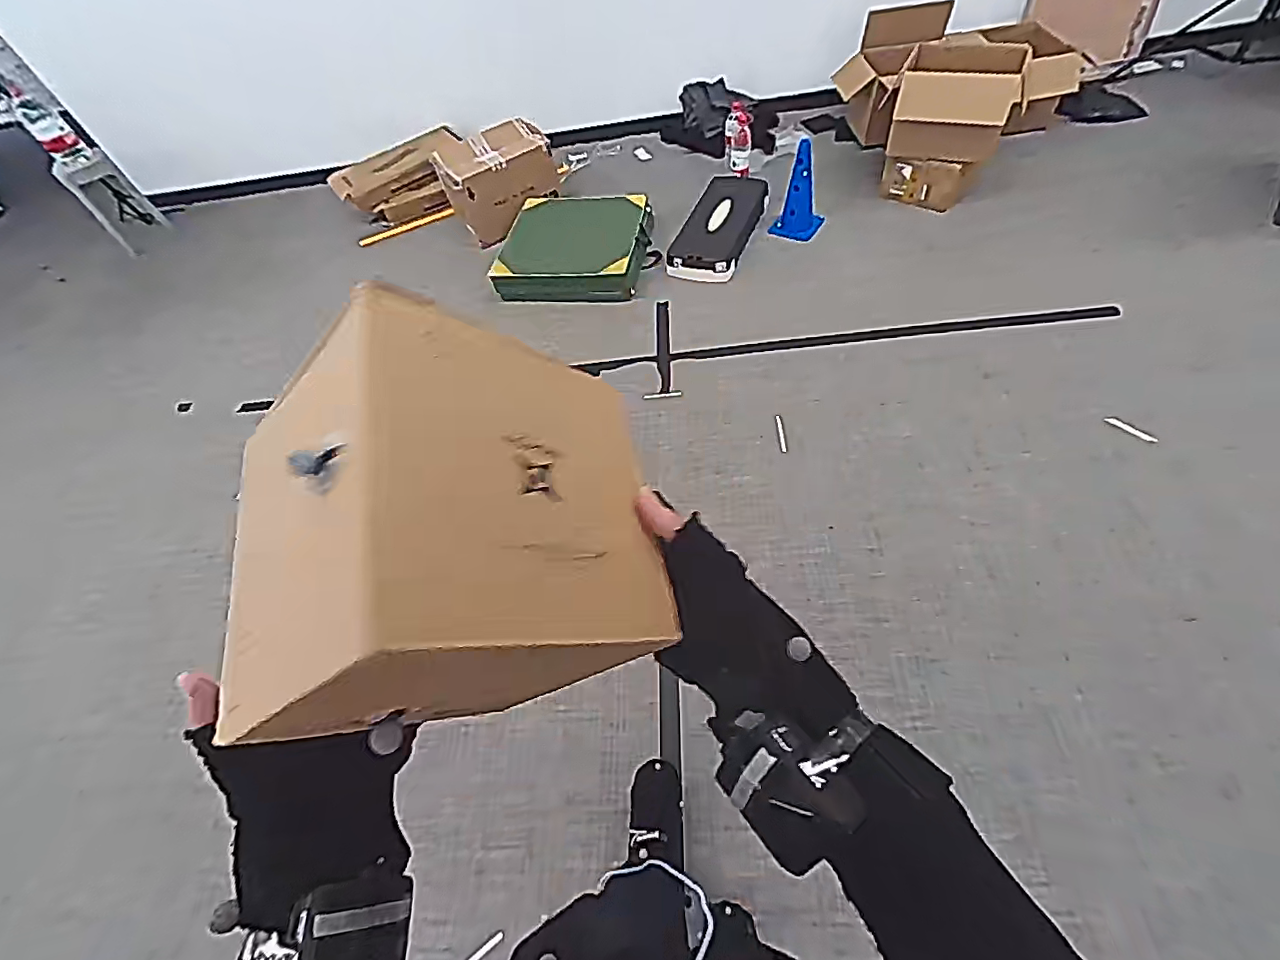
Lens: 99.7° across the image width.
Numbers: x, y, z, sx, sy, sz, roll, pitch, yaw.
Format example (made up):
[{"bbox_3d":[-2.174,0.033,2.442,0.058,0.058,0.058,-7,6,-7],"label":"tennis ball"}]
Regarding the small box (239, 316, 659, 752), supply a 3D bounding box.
[{"bbox_3d":[-0.119,0.044,0.329,0.176,0.168,0.179,-34,57,34],"label":"small box"}]
